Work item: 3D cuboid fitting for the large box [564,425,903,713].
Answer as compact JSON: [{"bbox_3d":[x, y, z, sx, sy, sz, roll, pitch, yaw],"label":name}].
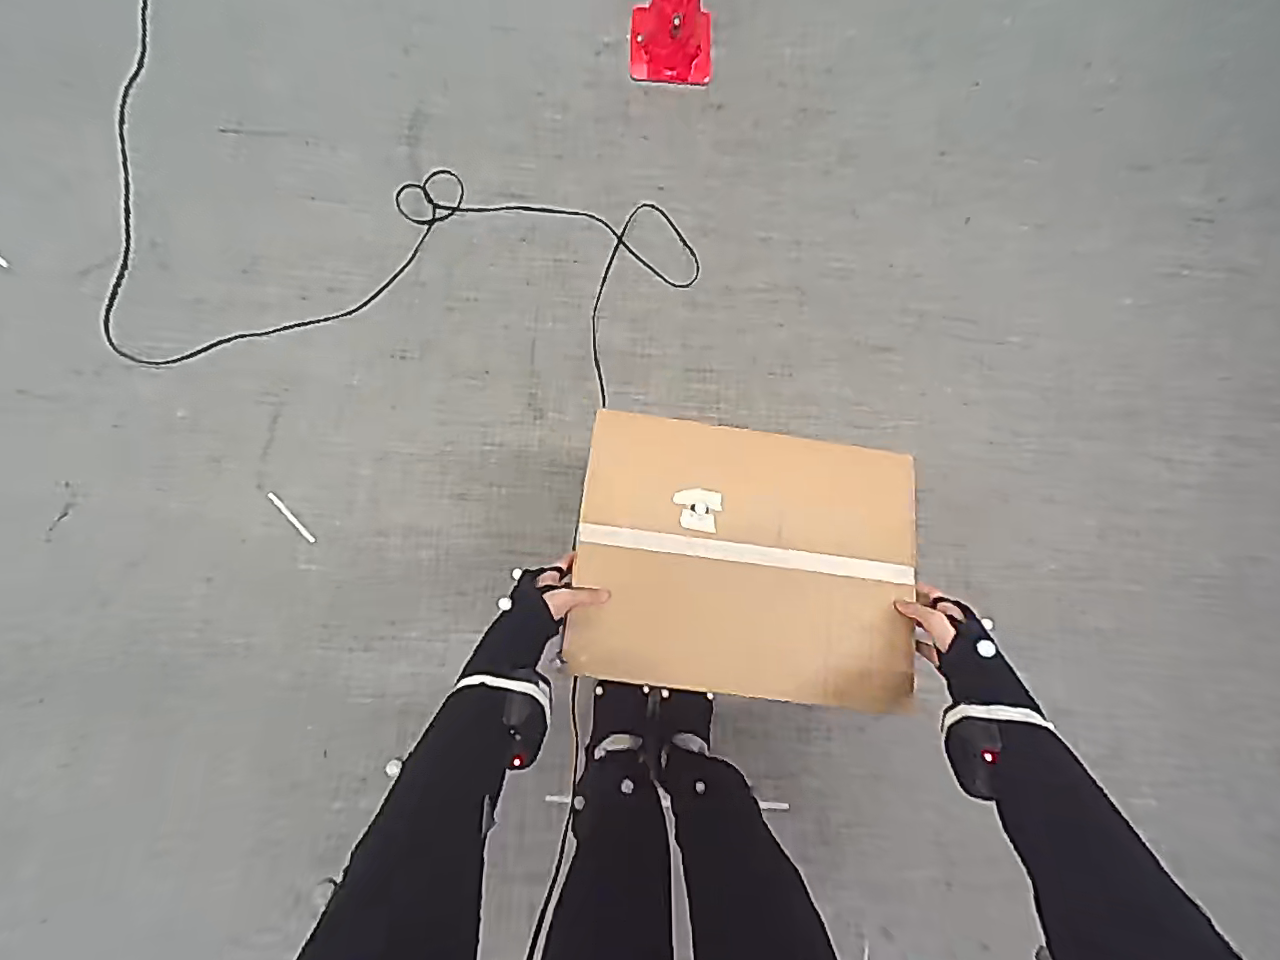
[{"bbox_3d":[0.118,0.133,0.802,0.408,0.320,0.320,8,76,-2],"label":"large box"}]
